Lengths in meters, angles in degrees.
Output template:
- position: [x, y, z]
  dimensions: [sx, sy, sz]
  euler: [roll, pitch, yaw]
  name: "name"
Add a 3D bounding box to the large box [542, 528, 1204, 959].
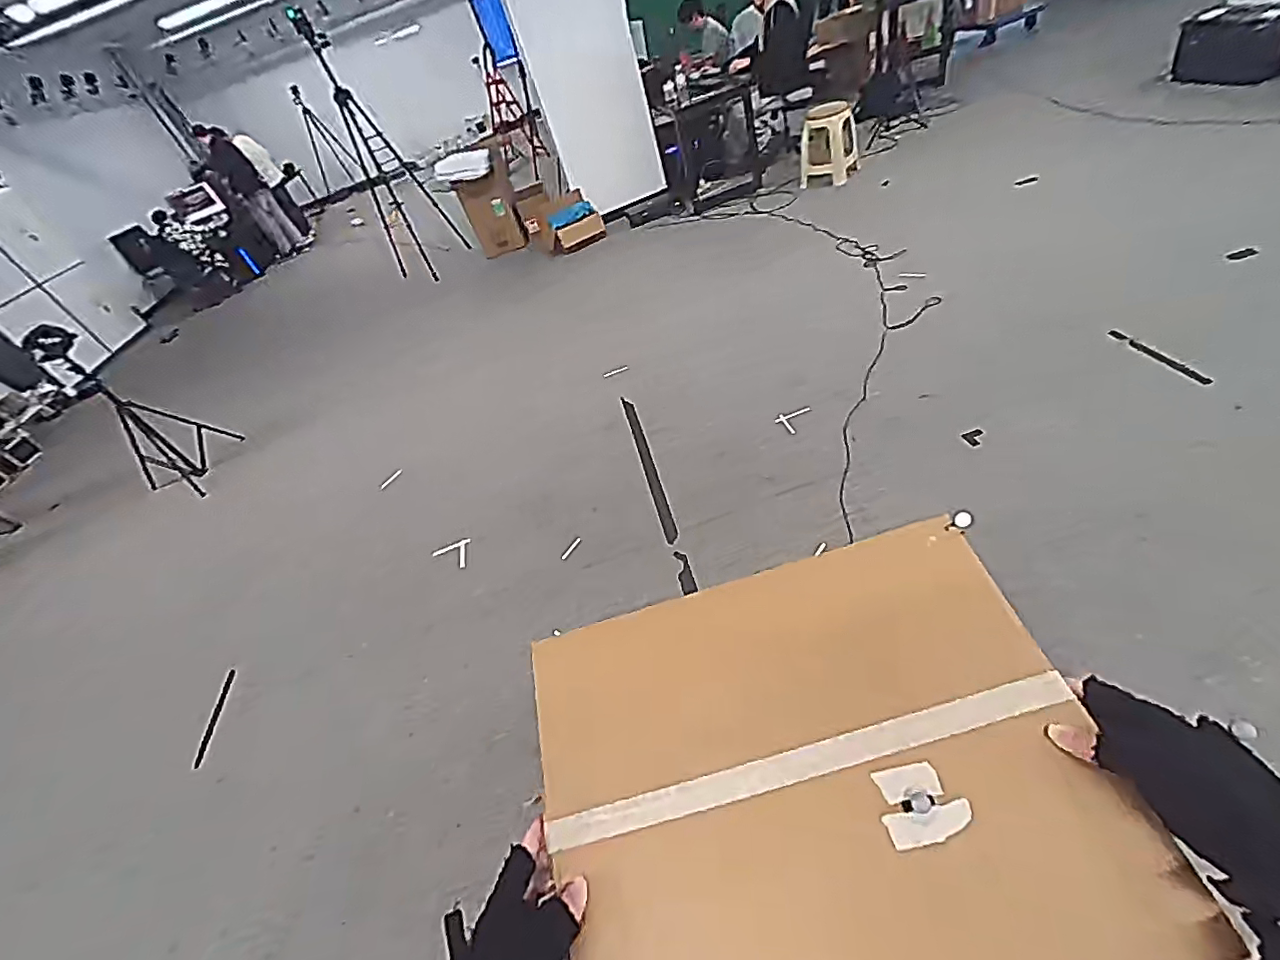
- position: [0.157, 0.307, 0.544]
  dimensions: [0.408, 0.320, 0.320]
  euler: [-18, 54, 3]
  name: "large box"
